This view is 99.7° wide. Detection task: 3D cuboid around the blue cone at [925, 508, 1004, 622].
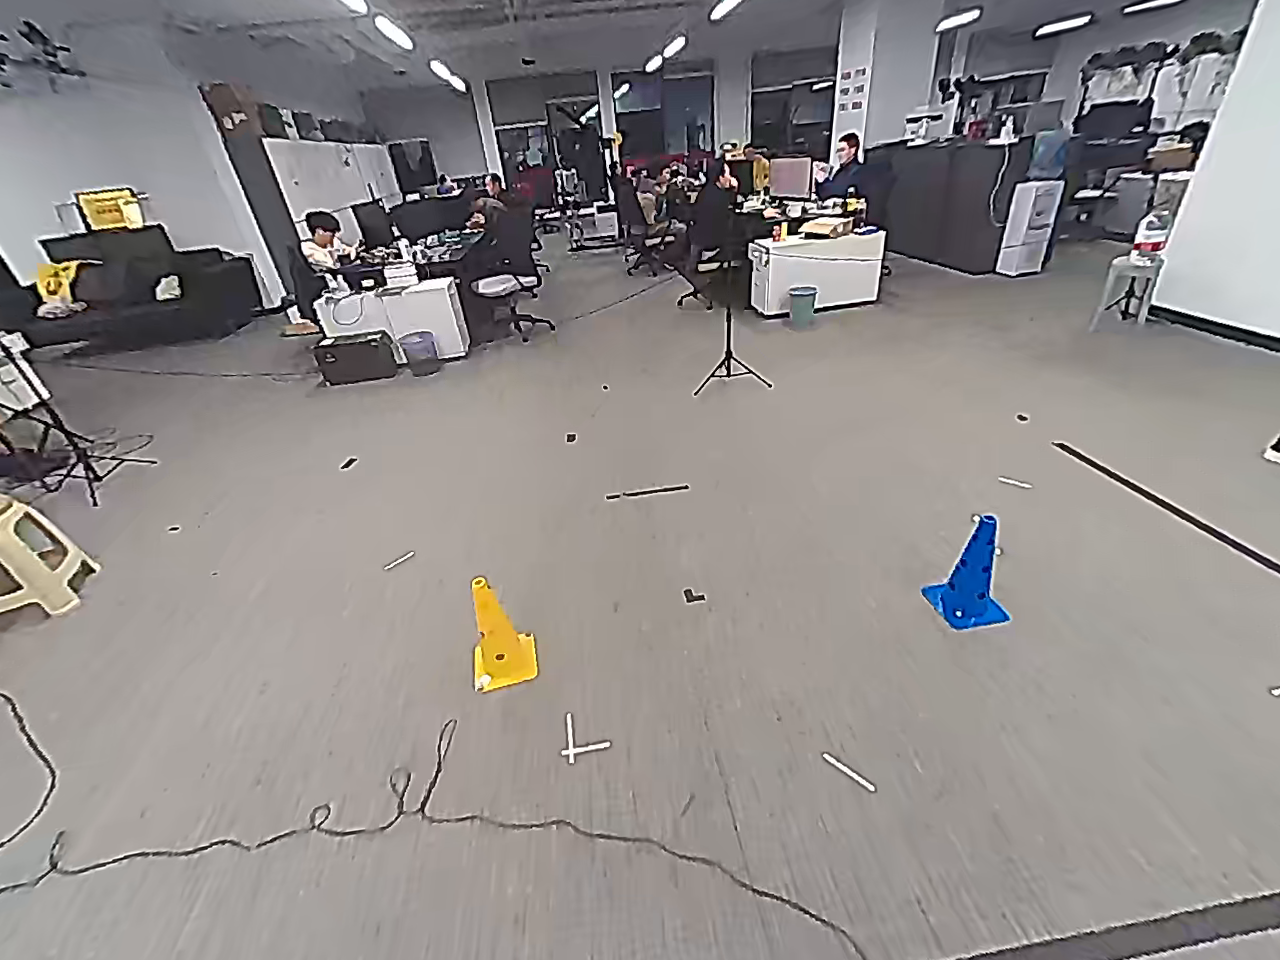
[{"bbox_3d":[1.069,0.261,1.727,0.193,0.380,0.192,-8,31,-3],"label":"blue cone"}]
